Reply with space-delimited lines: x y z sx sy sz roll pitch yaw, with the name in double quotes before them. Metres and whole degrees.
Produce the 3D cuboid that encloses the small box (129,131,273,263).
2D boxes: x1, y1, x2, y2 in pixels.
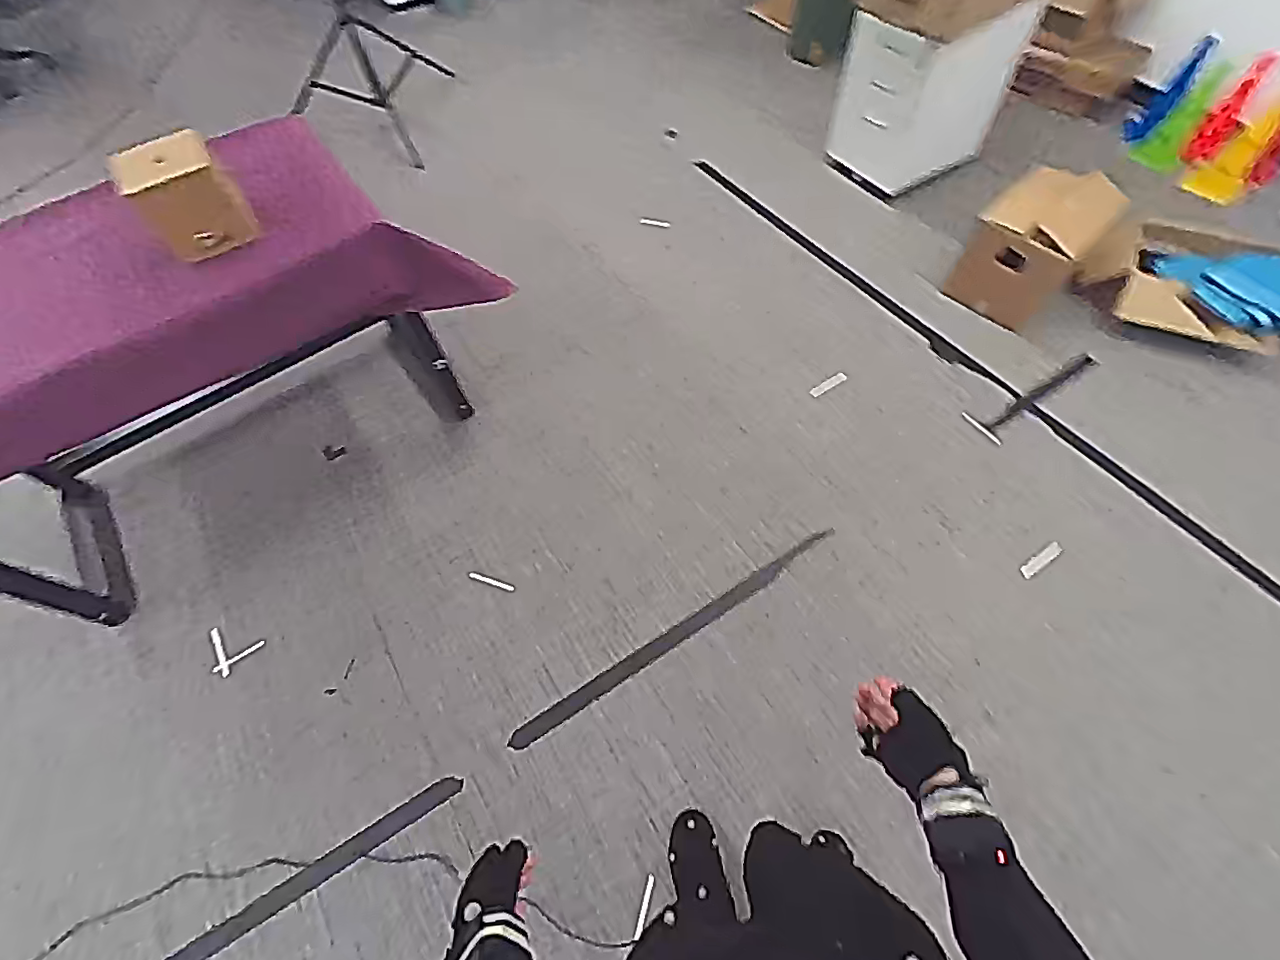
"small box" -0.944 -0.609 1.174 0.168 0.176 0.179 -32 64 -13
